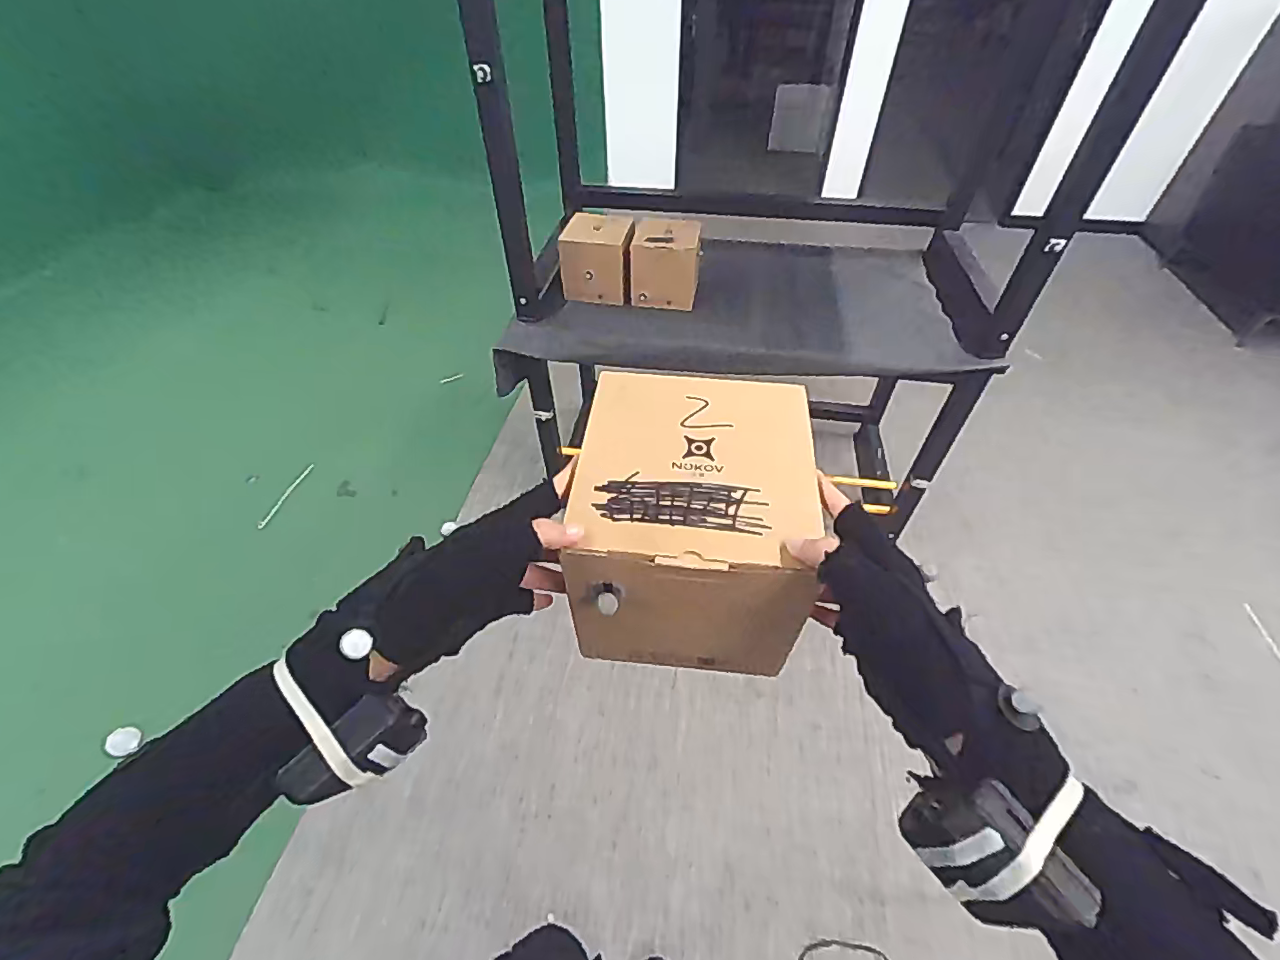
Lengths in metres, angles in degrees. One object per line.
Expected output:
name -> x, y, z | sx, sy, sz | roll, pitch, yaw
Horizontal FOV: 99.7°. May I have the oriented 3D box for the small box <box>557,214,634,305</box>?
small box -> -0.112, -0.591, 1.454 | 0.168, 0.176, 0.179 | 9, 47, 7
